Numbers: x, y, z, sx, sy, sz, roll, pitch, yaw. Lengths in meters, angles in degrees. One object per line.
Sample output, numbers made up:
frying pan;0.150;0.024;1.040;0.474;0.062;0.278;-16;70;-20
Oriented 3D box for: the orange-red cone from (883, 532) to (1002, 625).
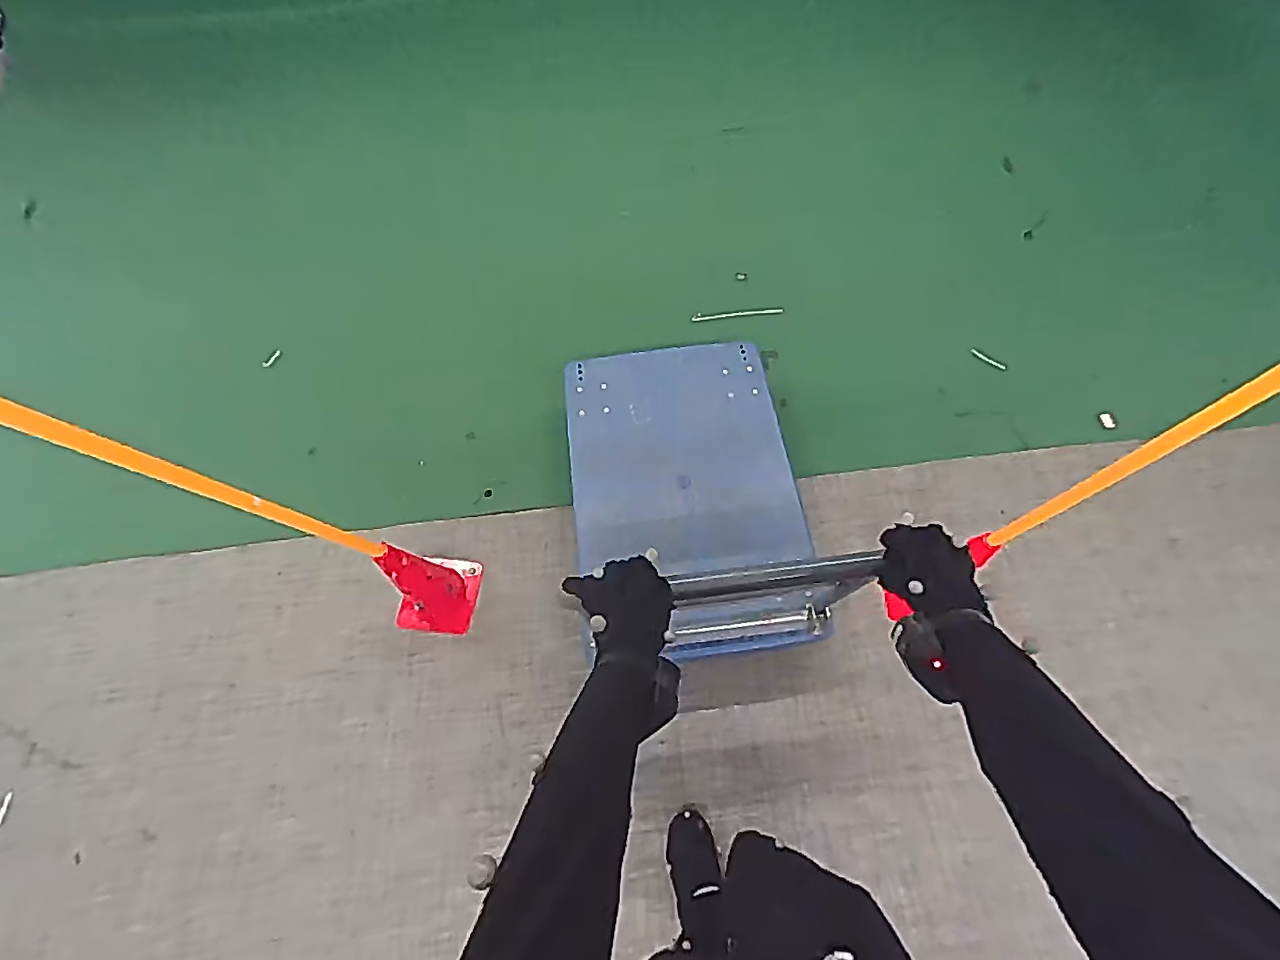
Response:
orange-red cone;0.743;0.205;1.279;0.198;0.360;0.199;3;64;5
